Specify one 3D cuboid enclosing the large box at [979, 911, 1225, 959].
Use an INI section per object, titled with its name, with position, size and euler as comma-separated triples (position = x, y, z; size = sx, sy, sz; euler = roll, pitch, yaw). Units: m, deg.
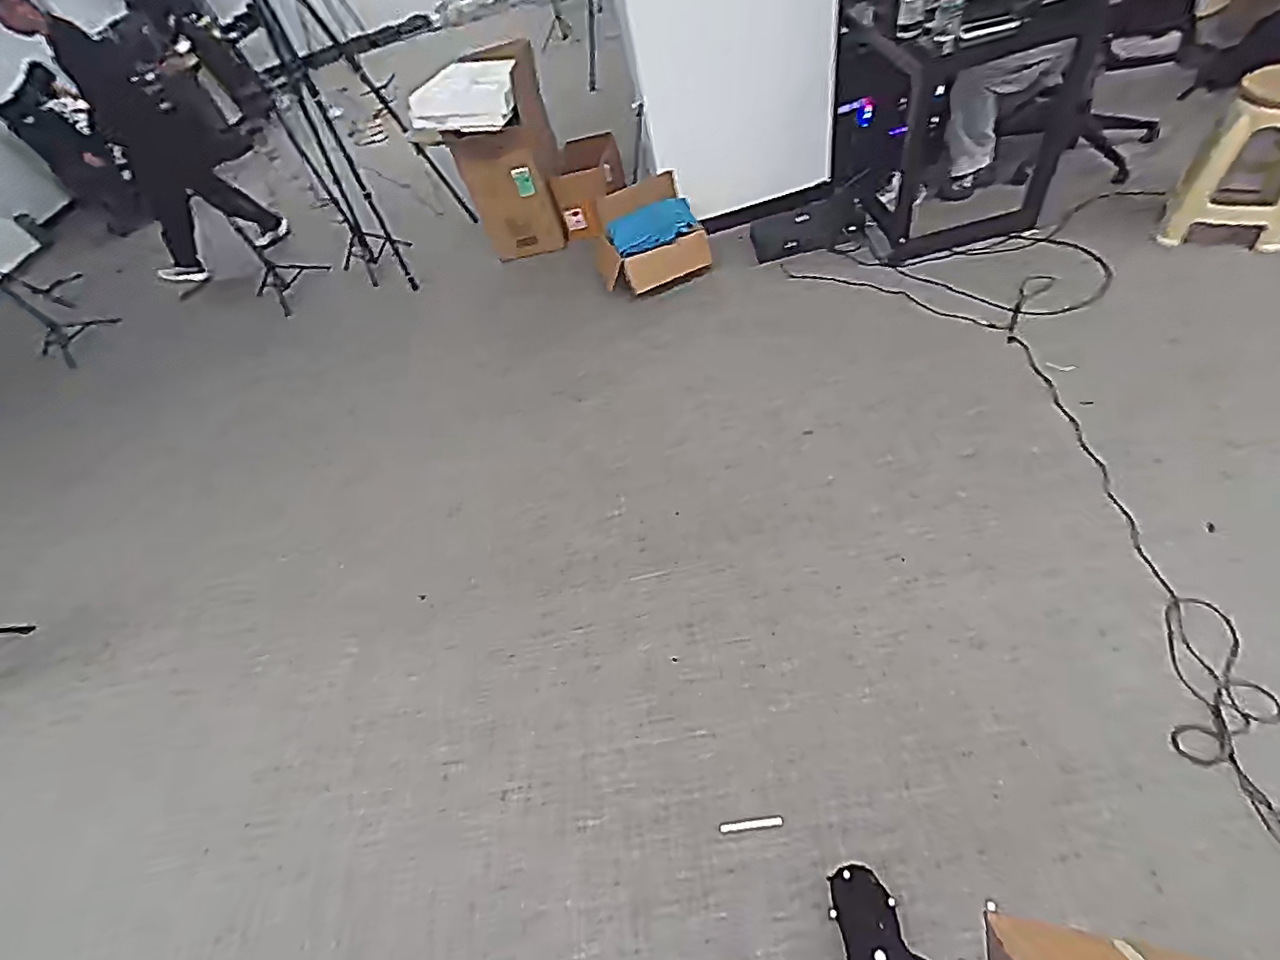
[large box]
position = 0.583, 0.735, 0.535
size = 0.320, 0.408, 0.320
euler = 3, 77, 16
